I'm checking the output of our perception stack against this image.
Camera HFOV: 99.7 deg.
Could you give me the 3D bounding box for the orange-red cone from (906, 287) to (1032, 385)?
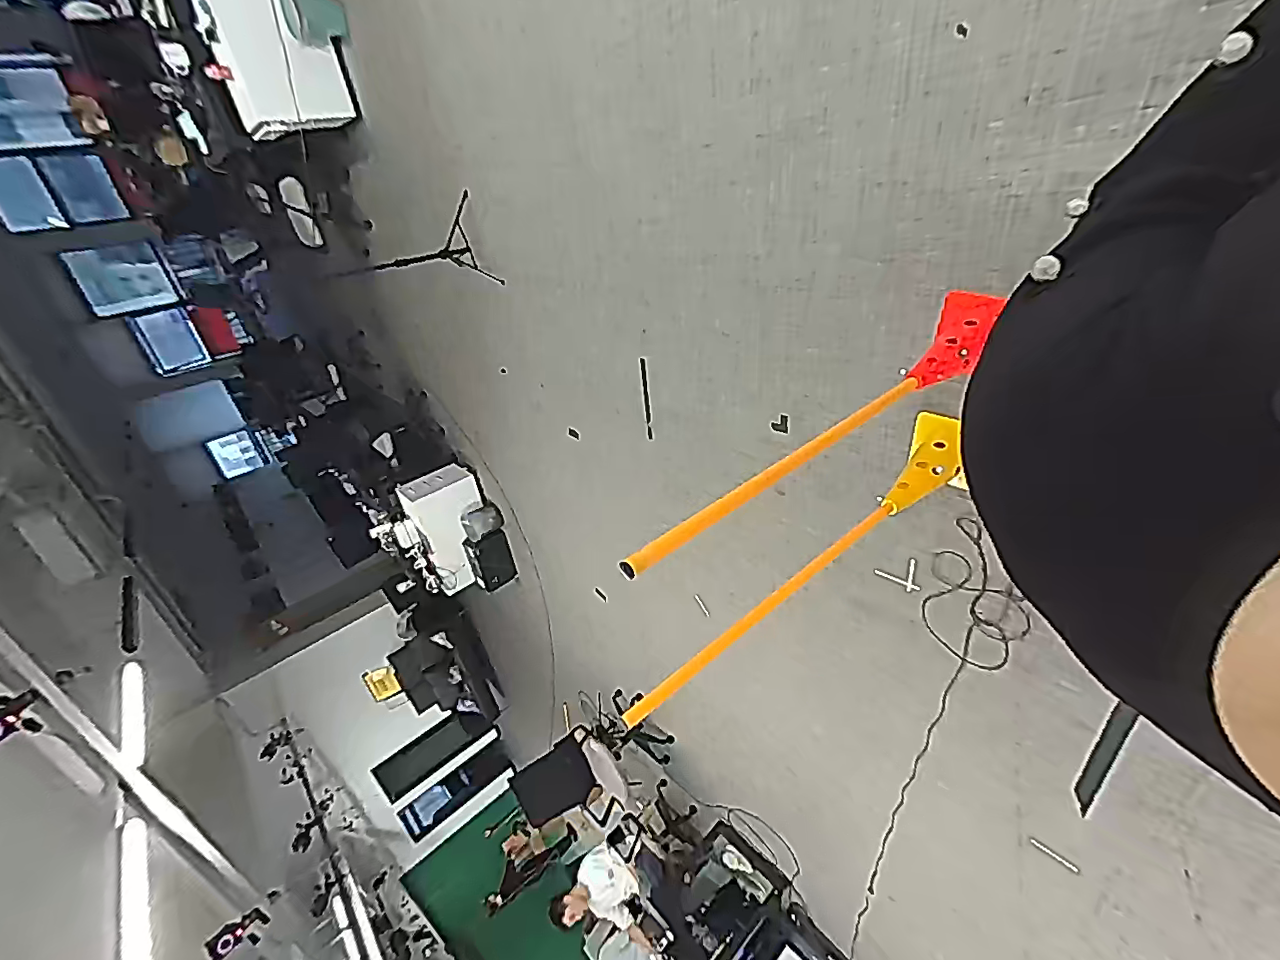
[{"bbox_3d":[0.706,-0.294,1.240,0.198,0.360,0.199,30,136,37],"label":"orange-red cone"}]
